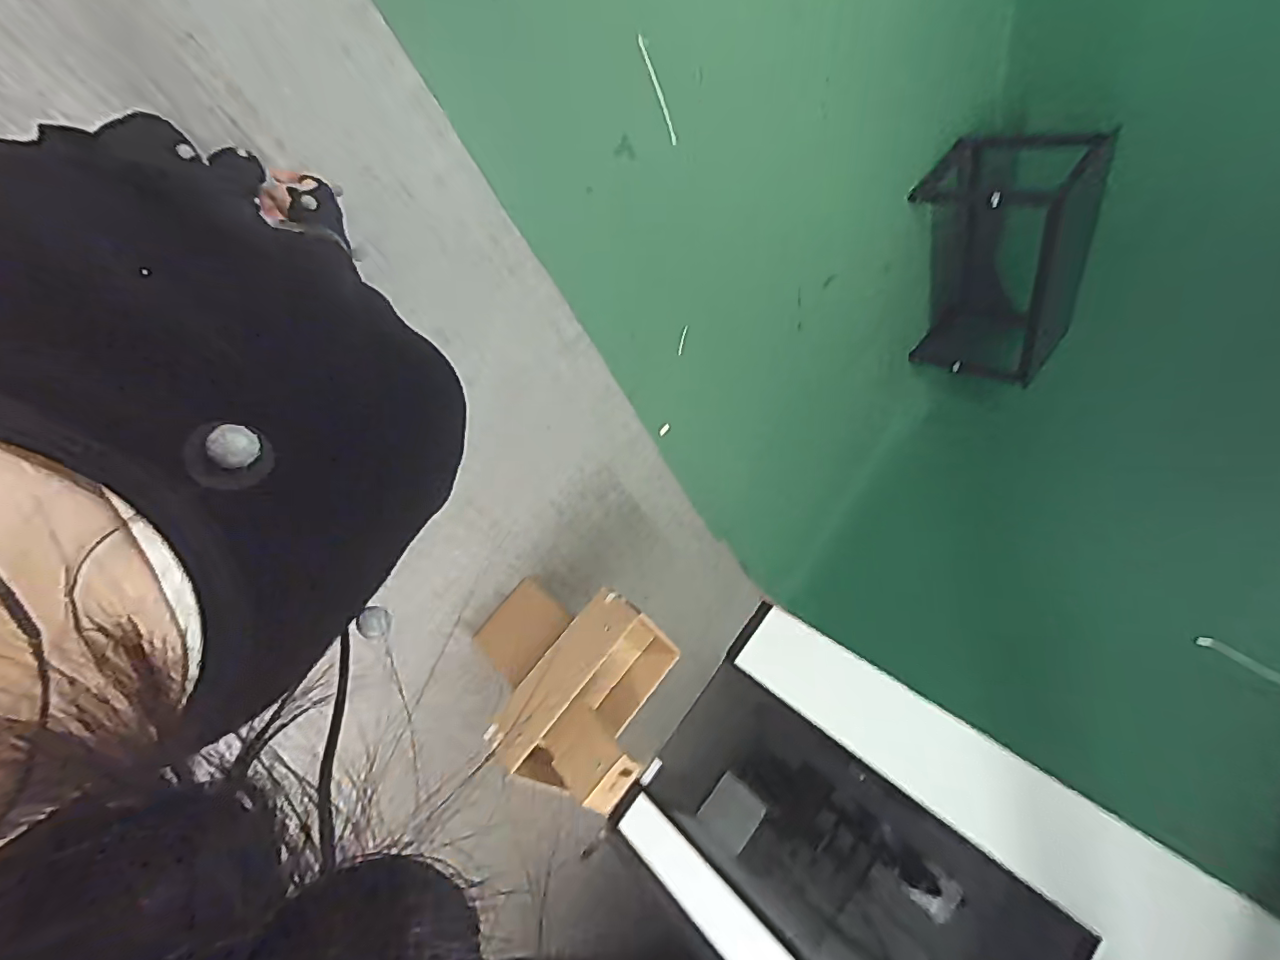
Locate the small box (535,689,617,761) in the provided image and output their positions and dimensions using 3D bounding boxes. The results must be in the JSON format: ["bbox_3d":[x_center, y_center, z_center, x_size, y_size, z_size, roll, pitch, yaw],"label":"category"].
[{"bbox_3d":[-0.212,0.818,1.770,0.168,0.176,0.179,-45,136,-17],"label":"small box"}]

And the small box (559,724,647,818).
[{"bbox_3d":[-0.115,0.886,1.657,0.179,0.176,0.168,-46,136,-15],"label":"small box"}]
